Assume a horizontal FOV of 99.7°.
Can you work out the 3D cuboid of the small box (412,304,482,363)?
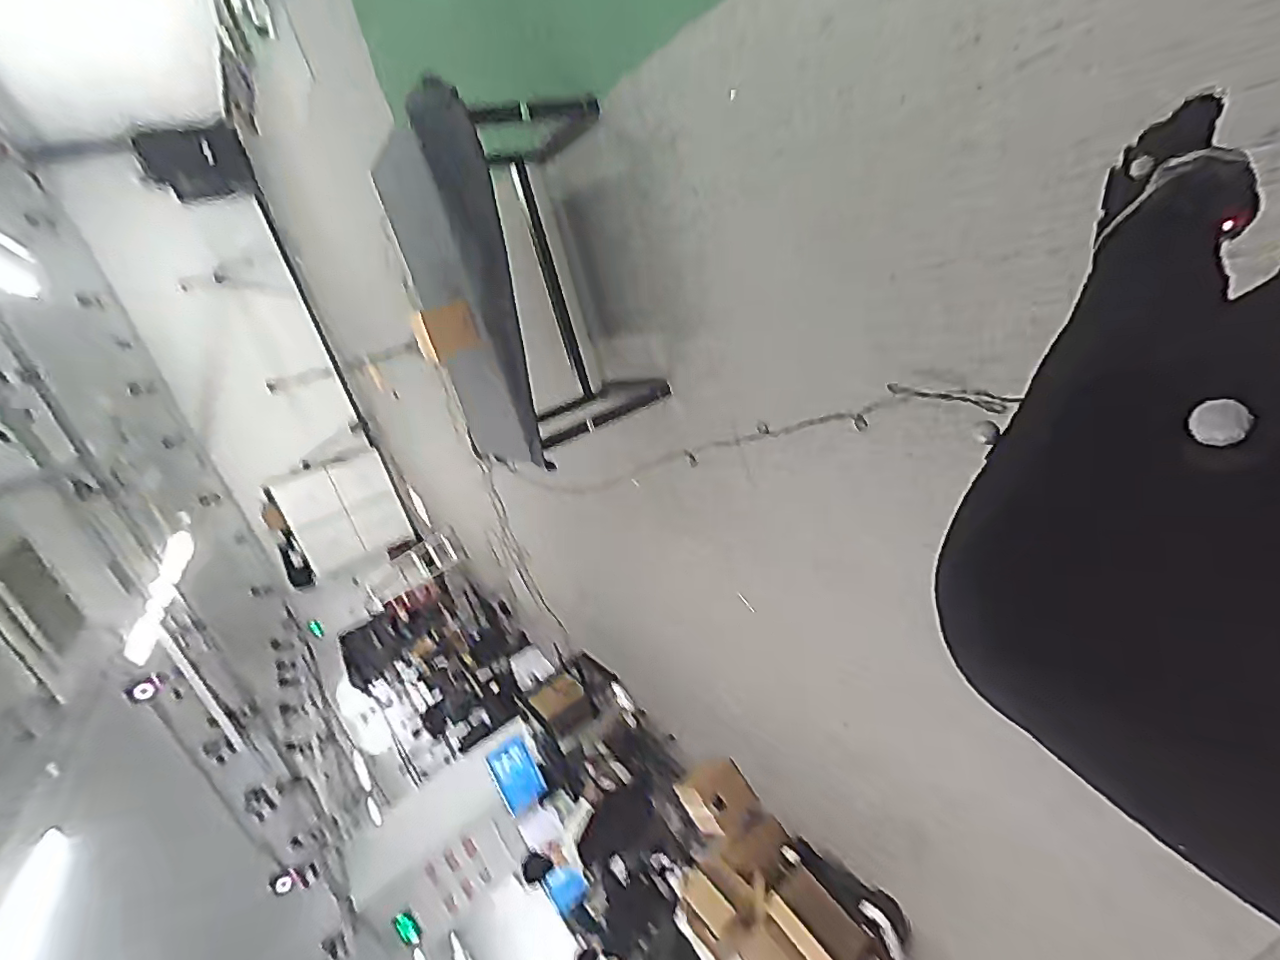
[{"bbox_3d":[-0.702,-0.536,1.972,0.168,0.176,0.179,16,126,53],"label":"small box"}]
